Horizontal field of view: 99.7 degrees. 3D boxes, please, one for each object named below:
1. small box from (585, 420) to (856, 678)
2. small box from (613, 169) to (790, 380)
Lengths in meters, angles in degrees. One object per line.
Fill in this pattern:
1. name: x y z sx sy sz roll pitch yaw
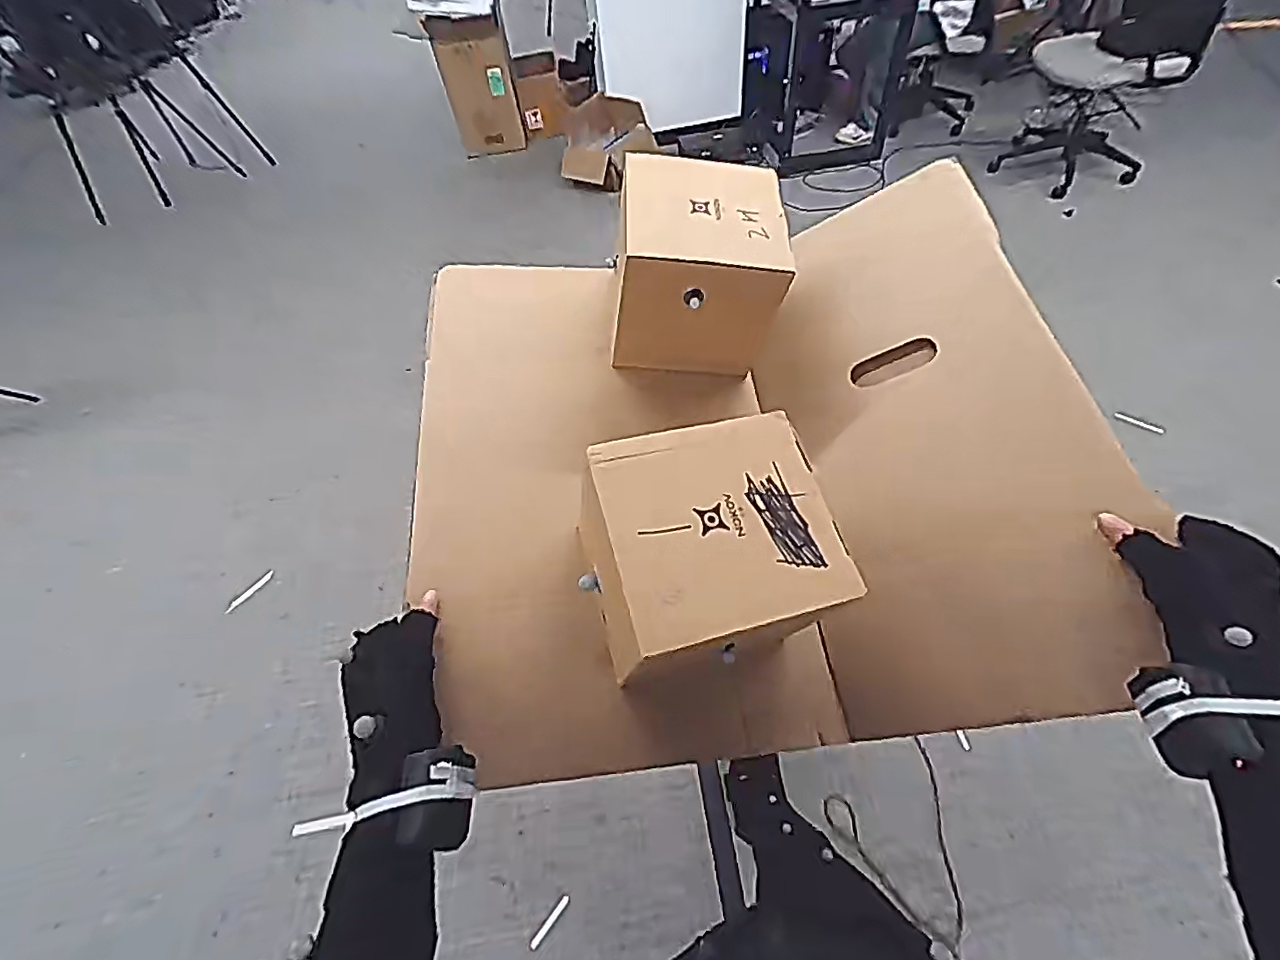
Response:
1. small box: 0.052 0.069 0.492 0.179 0.176 0.168 -11 65 -13
2. small box: 0.061 -0.239 0.656 0.179 0.176 0.168 4 62 -7
